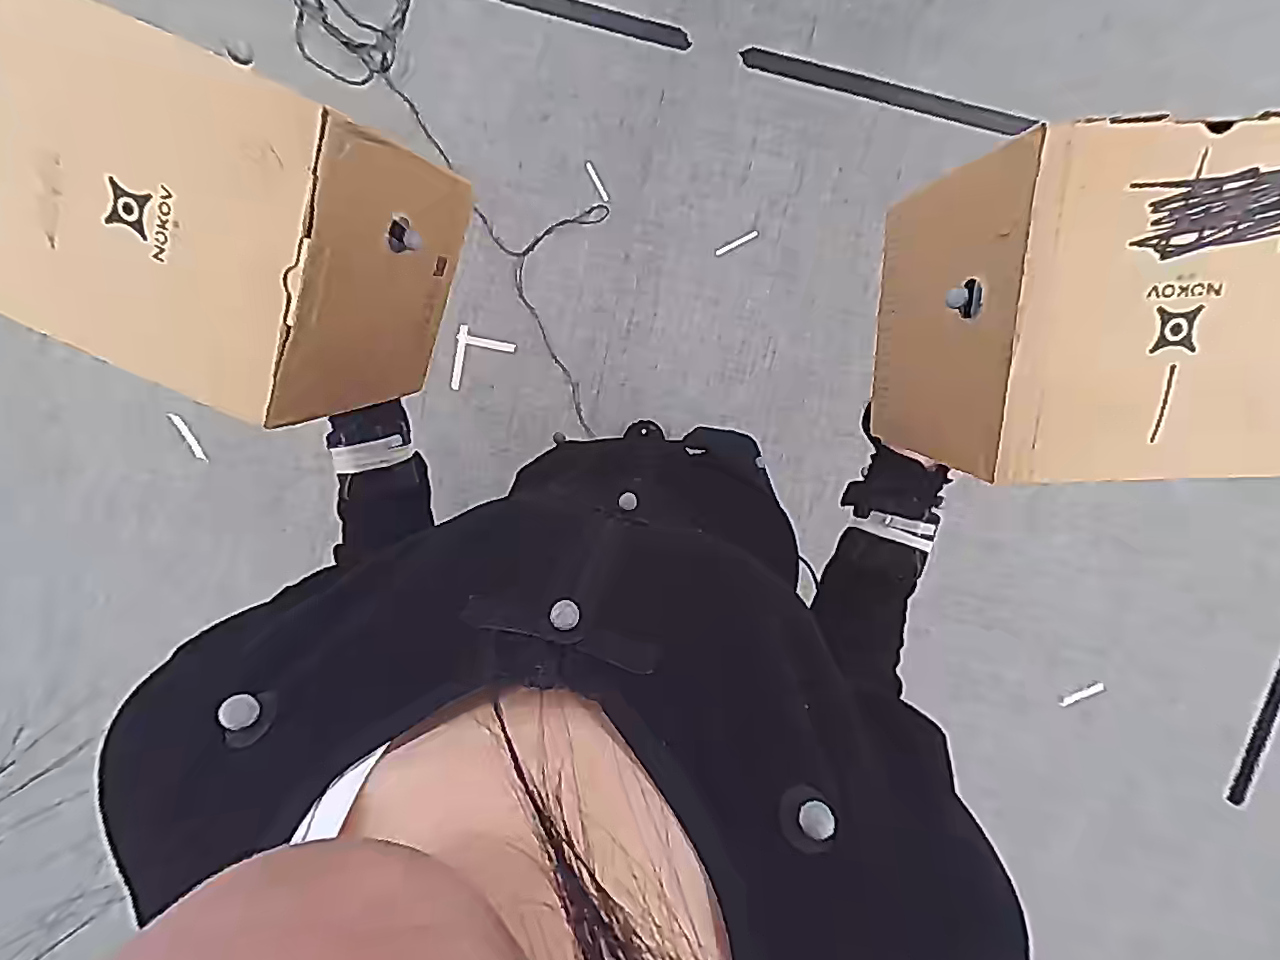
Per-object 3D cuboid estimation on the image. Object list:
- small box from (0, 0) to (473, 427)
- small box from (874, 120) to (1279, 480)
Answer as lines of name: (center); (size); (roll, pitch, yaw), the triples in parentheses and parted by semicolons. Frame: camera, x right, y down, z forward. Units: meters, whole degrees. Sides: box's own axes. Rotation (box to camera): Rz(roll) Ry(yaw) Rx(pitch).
small box: (-0.234, -0.155, 0.349); (0.179, 0.176, 0.168); (24, 107, 0)
small box: (0.271, -0.104, 0.354); (0.168, 0.176, 0.179); (-1, 105, 1)
